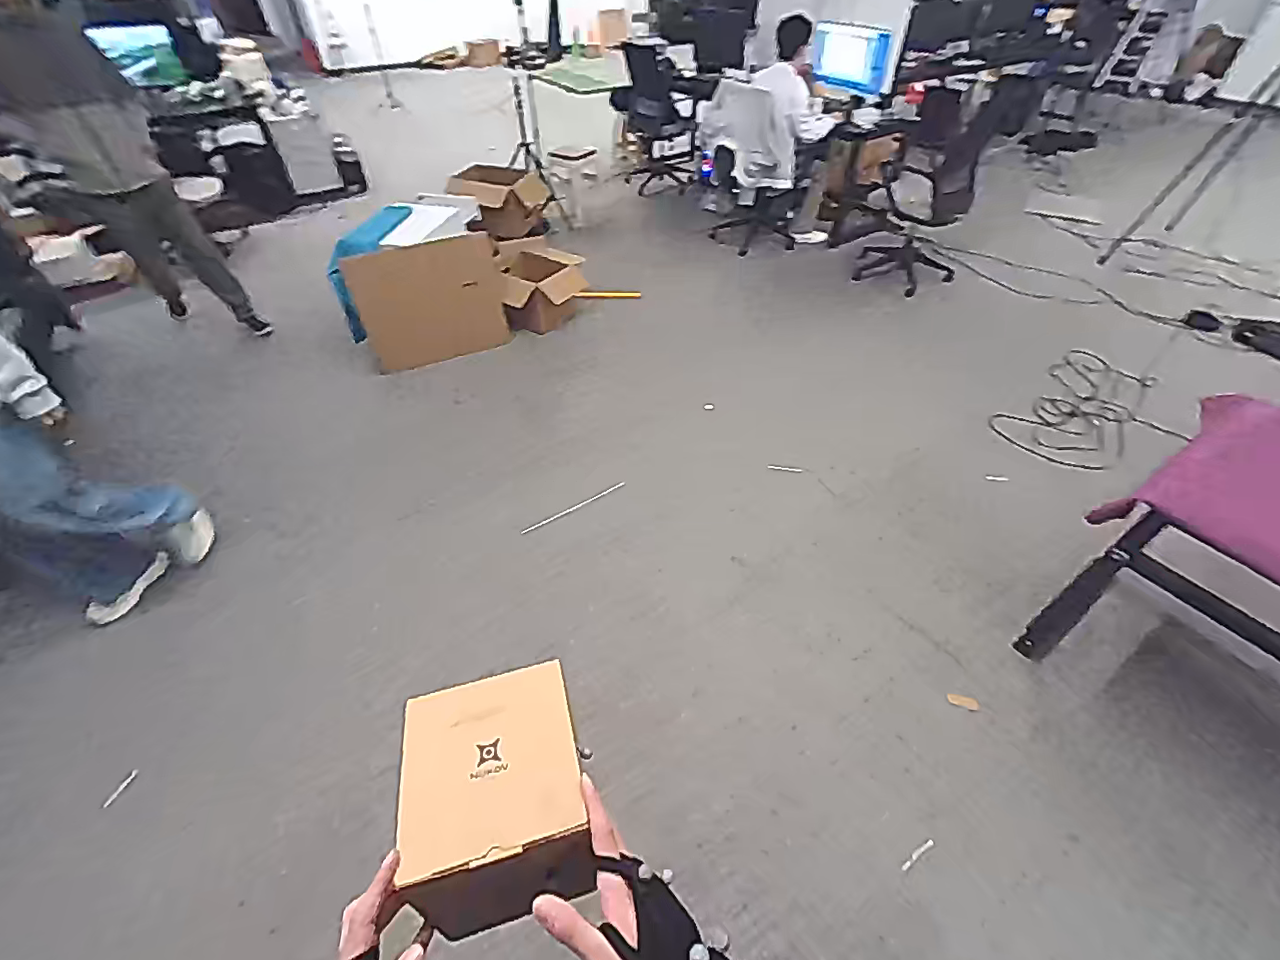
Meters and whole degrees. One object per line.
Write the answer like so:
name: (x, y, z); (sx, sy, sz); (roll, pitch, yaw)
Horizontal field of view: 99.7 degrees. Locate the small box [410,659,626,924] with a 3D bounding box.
small box: (-0.124, 0.332, 0.573); (0.168, 0.176, 0.179); (-20, 44, -12)
